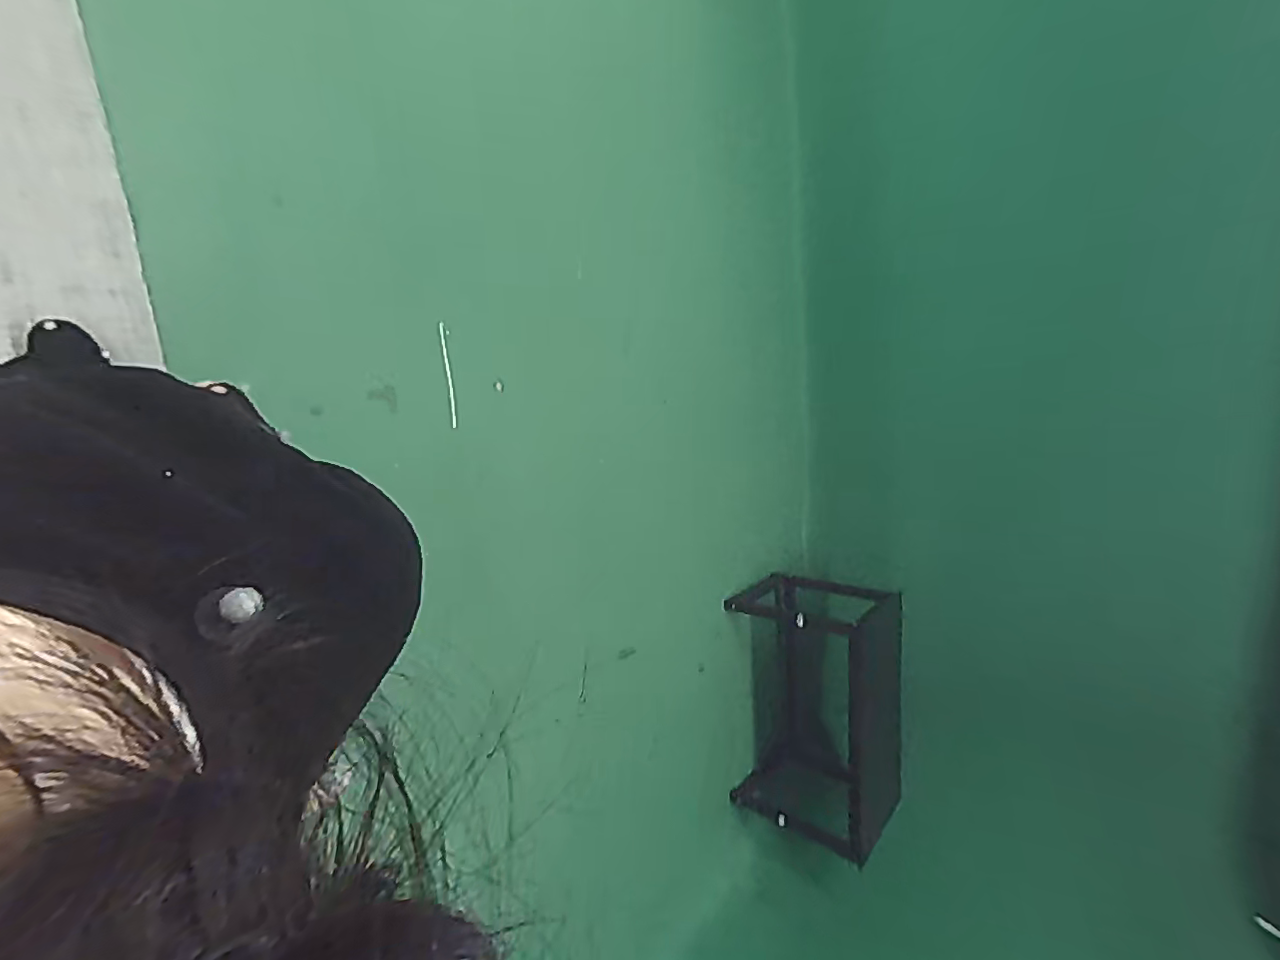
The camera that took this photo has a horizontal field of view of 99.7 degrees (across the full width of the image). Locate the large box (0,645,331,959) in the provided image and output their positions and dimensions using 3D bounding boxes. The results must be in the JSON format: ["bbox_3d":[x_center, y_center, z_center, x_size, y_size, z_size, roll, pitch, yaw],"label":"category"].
[{"bbox_3d":[-0.946,0.609,1.095,0.408,0.320,0.320,-37,121,-43],"label":"large box"}]
